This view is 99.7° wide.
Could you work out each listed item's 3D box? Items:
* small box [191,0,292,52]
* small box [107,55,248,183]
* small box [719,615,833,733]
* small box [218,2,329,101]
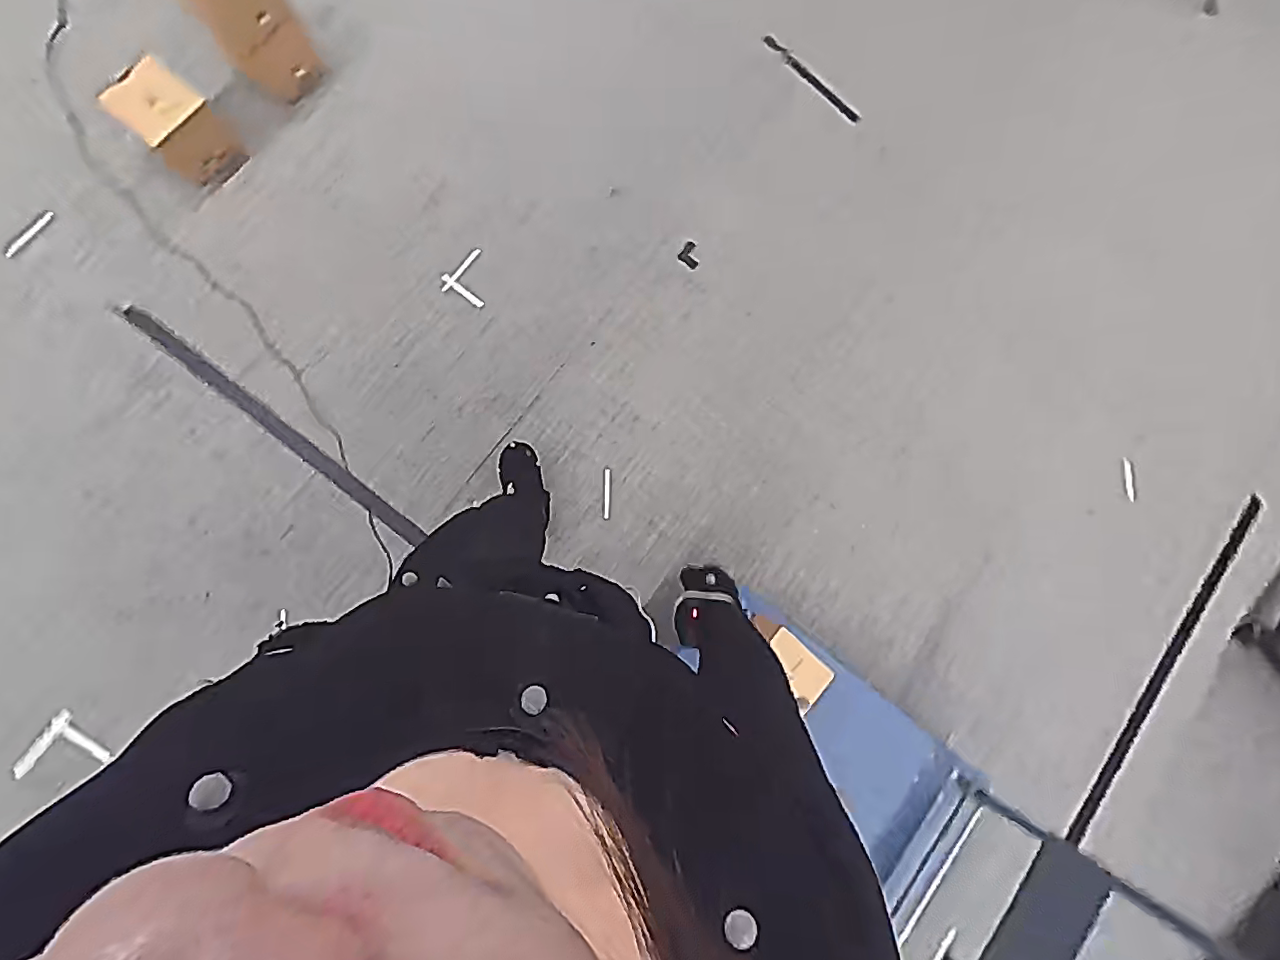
[{"bbox_3d":[-0.960,-1.174,1.265,0.168,0.176,0.179,37,81,-2],"label":"small box"},{"bbox_3d":[-1.171,-0.914,1.385,0.179,0.176,0.168,41,82,-3],"label":"small box"},{"bbox_3d":[0.306,0.445,1.269,0.168,0.176,0.179,43,81,-3],"label":"small box"},{"bbox_3d":[-0.975,-1.164,1.429,0.179,0.176,0.168,37,82,-3],"label":"small box"}]
